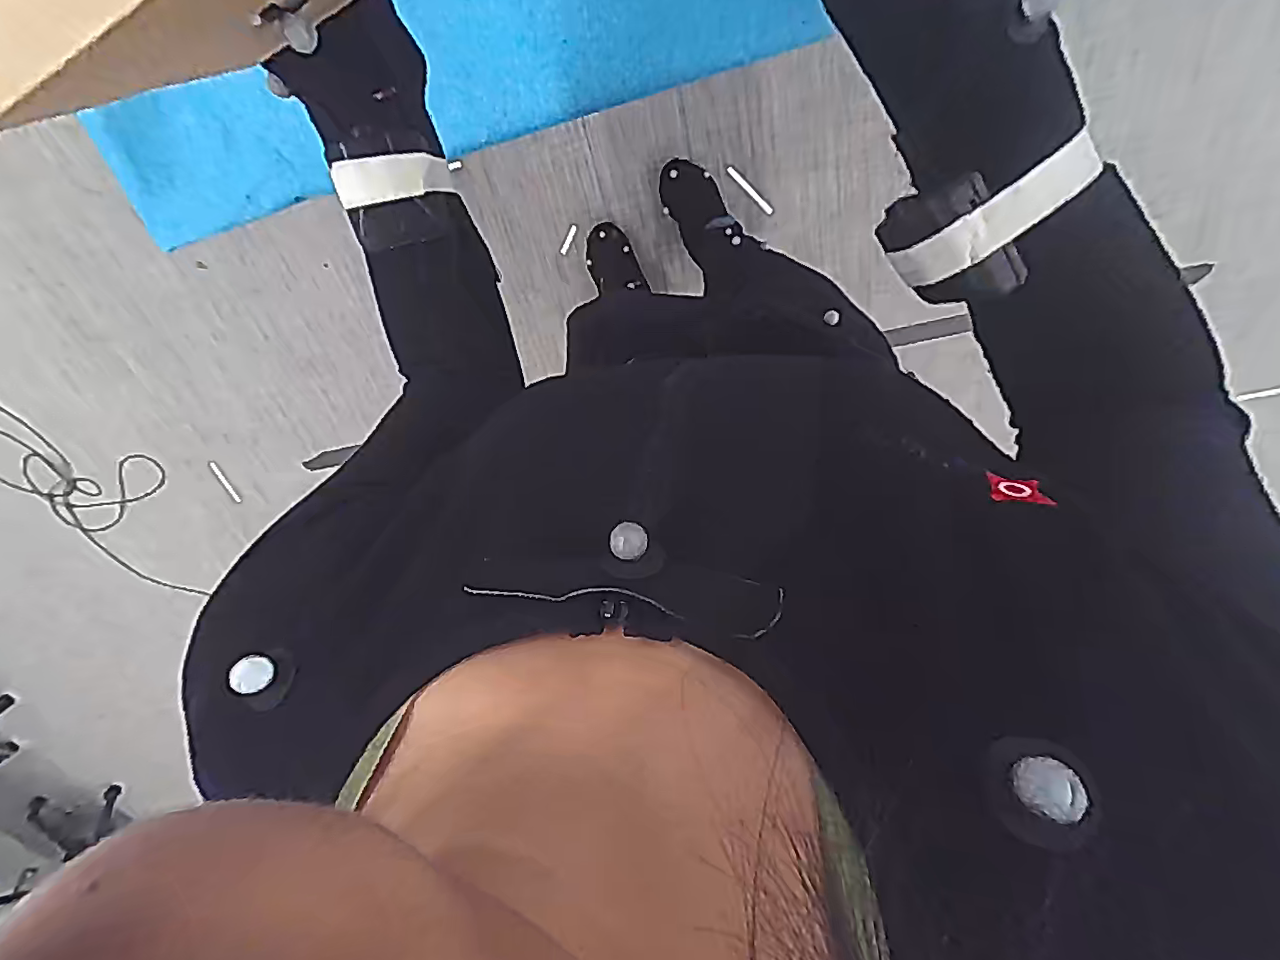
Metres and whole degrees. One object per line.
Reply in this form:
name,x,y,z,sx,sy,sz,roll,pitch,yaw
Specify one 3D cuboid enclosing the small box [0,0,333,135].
small box,-0.164,-0.246,0.156,0.168,0.176,0.179,-15,133,17
